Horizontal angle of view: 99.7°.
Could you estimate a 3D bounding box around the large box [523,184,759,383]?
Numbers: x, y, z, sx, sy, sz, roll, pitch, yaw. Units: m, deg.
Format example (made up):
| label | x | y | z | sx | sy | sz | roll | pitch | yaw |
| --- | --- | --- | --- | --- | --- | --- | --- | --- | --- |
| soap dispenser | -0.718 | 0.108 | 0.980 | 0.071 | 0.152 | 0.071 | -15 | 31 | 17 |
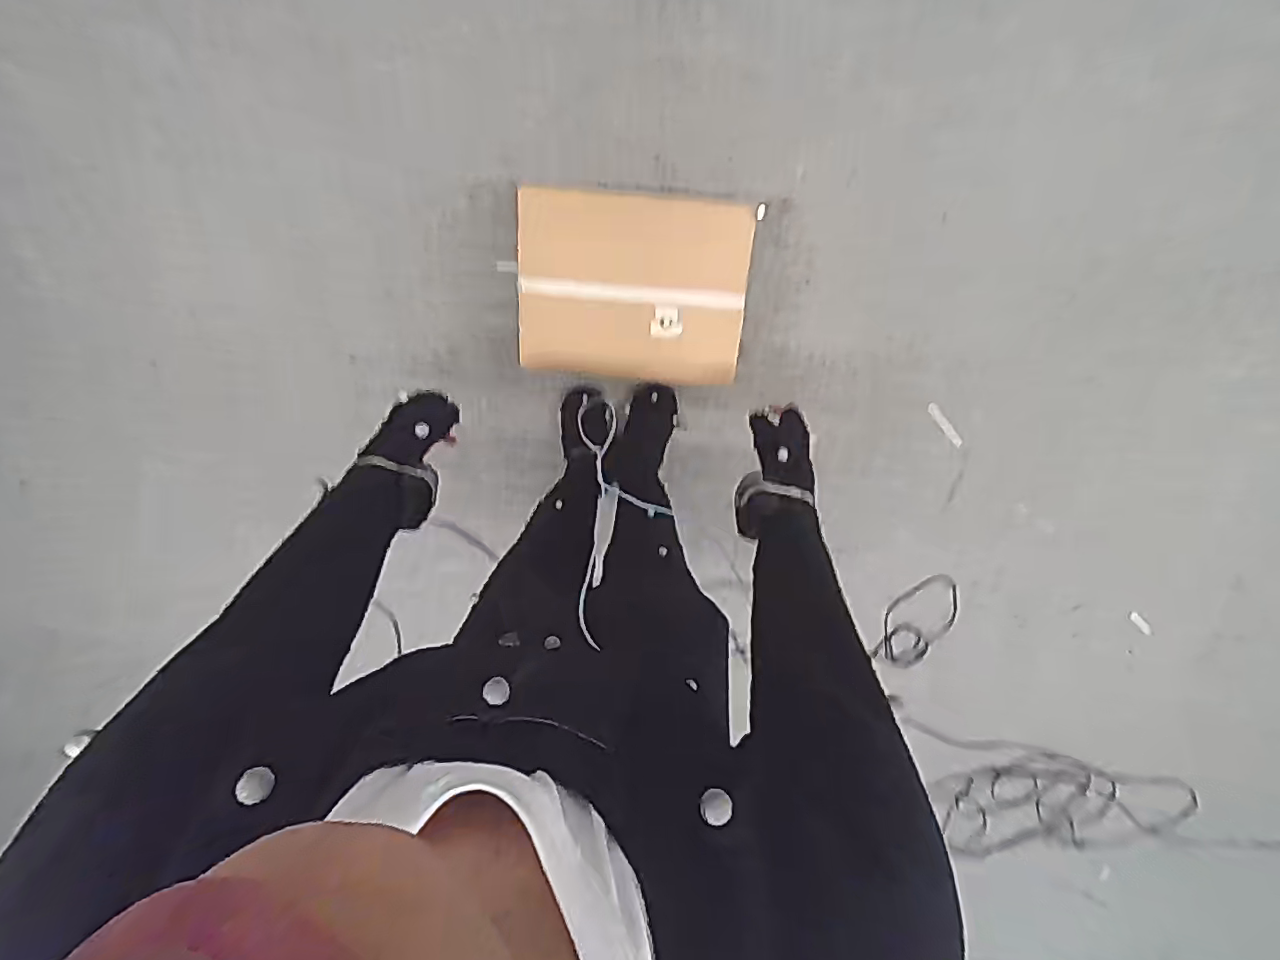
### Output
| label | x | y | z | sx | sy | sz | roll | pitch | yaw |
| --- | --- | --- | --- | --- | --- | --- | --- | --- | --- |
| large box | -0.006 | -0.389 | 1.094 | 0.408 | 0.320 | 0.320 | 5 | 112 | 0 |
